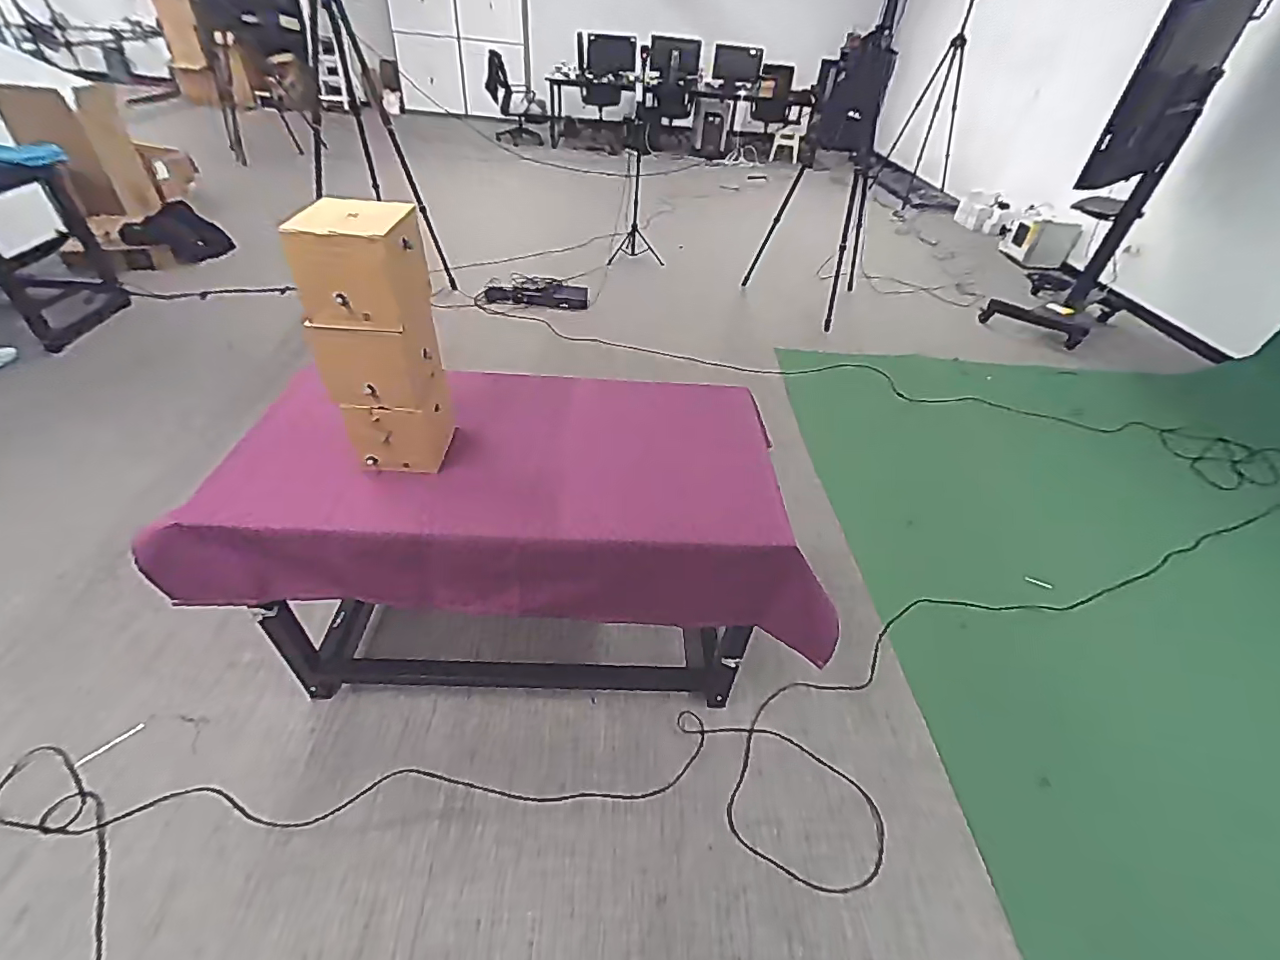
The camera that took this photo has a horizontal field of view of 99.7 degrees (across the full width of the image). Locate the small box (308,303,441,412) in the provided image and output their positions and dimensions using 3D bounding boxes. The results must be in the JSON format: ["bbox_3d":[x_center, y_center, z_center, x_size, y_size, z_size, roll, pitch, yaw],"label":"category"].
[{"bbox_3d":[-0.511,-0.249,1.075,0.179,0.176,0.168,4,41,-3],"label":"small box"}]

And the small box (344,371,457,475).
[{"bbox_3d":[-0.511,-0.126,1.185,0.168,0.176,0.179,3,40,-3],"label":"small box"}]

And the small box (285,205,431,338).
[{"bbox_3d":[-0.489,-0.375,0.973,0.168,0.176,0.179,2,42,-3],"label":"small box"}]
